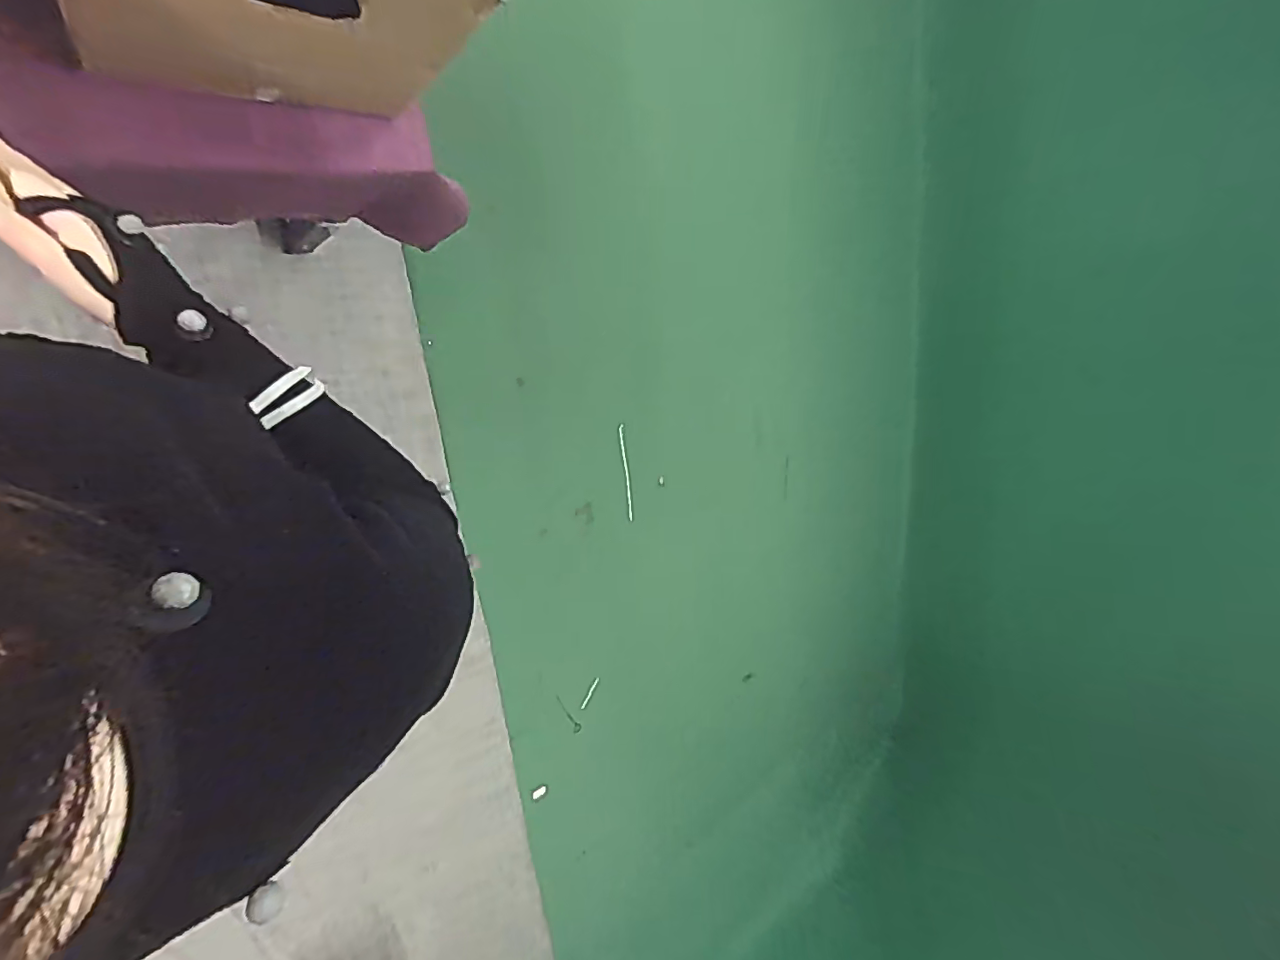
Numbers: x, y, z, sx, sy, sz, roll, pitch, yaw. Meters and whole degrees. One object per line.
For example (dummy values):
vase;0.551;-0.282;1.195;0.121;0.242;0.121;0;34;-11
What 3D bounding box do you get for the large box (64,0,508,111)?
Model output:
large box;-0.360;-0.618;0.466;0.320;0.320;0.408;-20;112;-38
